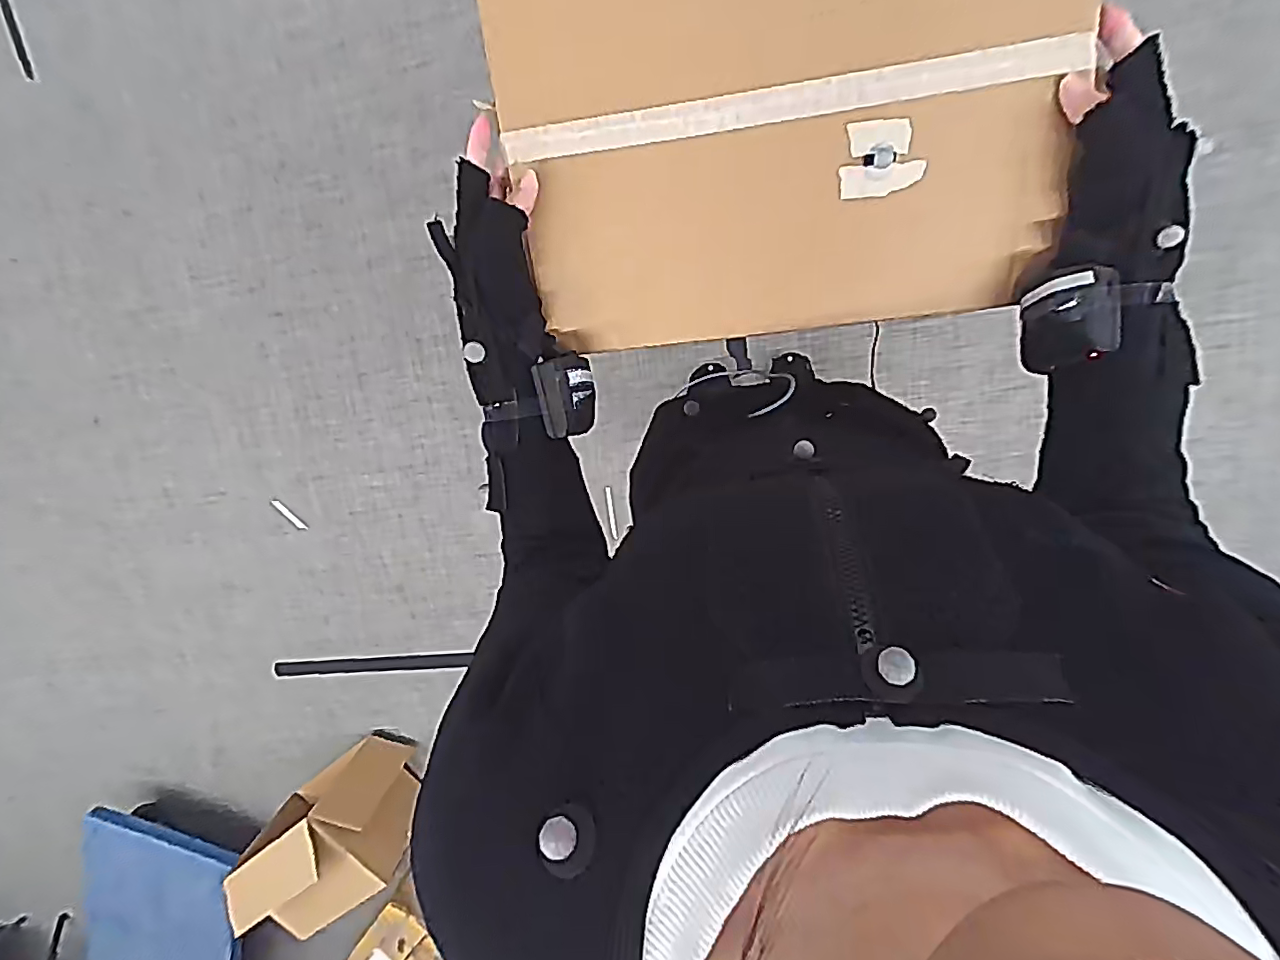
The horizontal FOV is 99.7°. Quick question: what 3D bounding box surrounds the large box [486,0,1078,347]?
[{"bbox_3d":[0.107,-0.329,0.531,0.408,0.320,0.320,-6,111,6],"label":"large box"}]
